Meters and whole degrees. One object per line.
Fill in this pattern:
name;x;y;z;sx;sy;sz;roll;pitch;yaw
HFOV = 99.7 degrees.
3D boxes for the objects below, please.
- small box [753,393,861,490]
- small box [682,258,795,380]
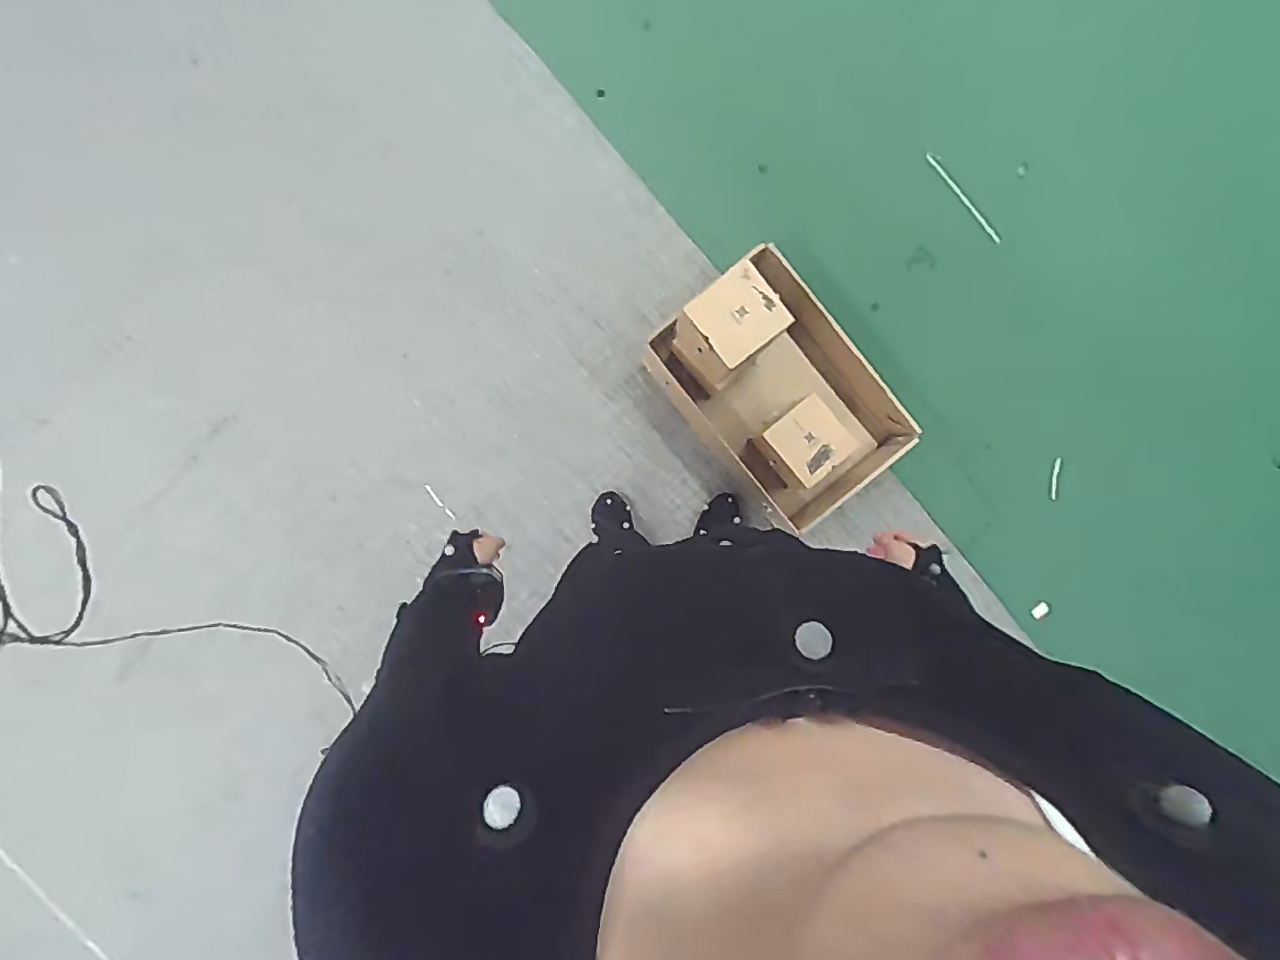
small box;0.411;-0.095;1.359;0.168;0.176;0.179;-40;91;1
small box;0.205;-0.341;1.187;0.179;0.176;0.168;-37;91;1
